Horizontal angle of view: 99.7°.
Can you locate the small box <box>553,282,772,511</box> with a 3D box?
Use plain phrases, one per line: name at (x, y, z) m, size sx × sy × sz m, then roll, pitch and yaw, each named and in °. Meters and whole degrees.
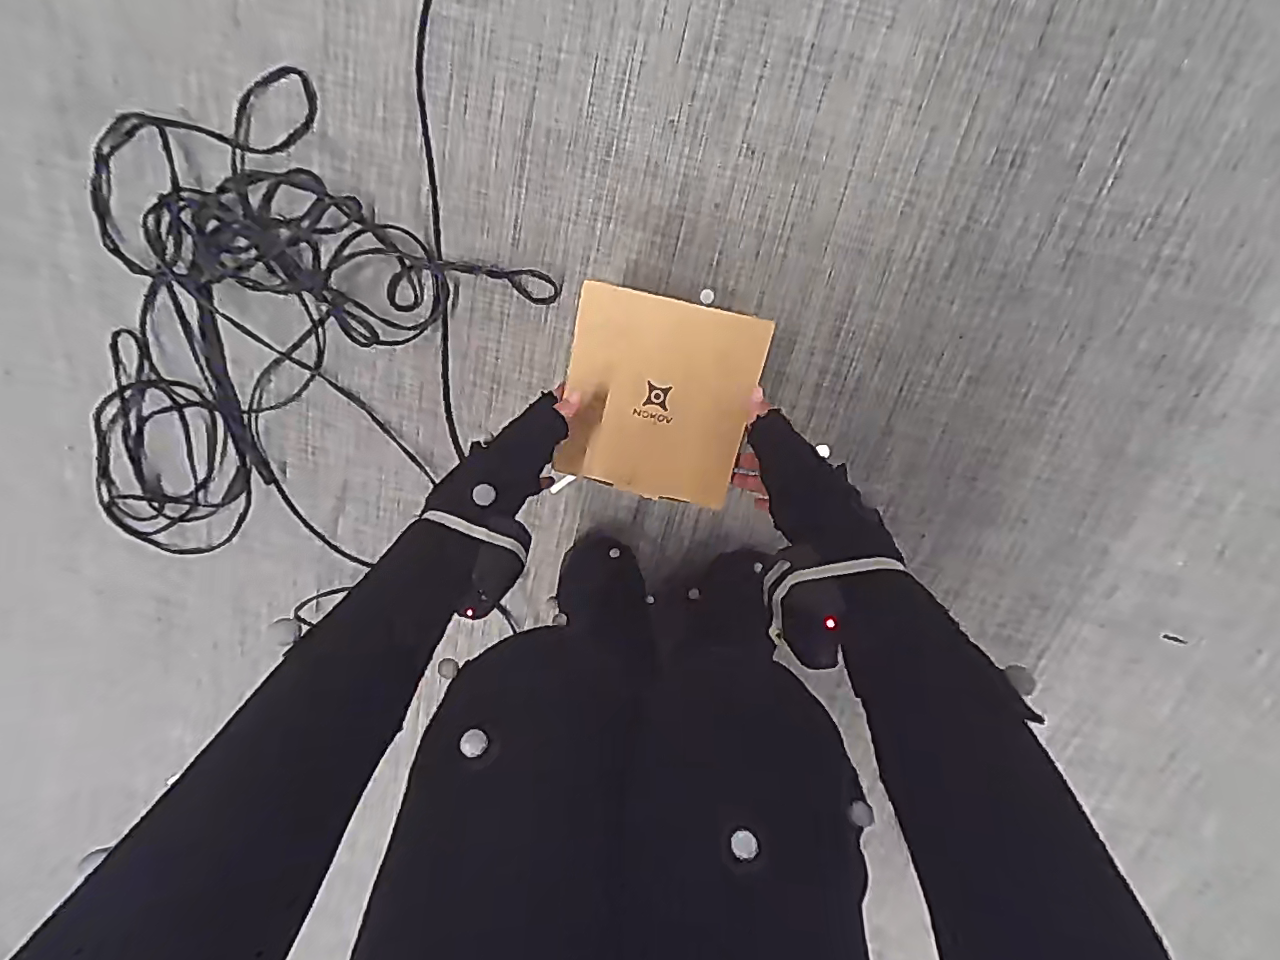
small box at (0.023, -0.094, 0.554) m, size 0.168 × 0.176 × 0.179 m, roll 14°, pitch 110°, yaw 3°
